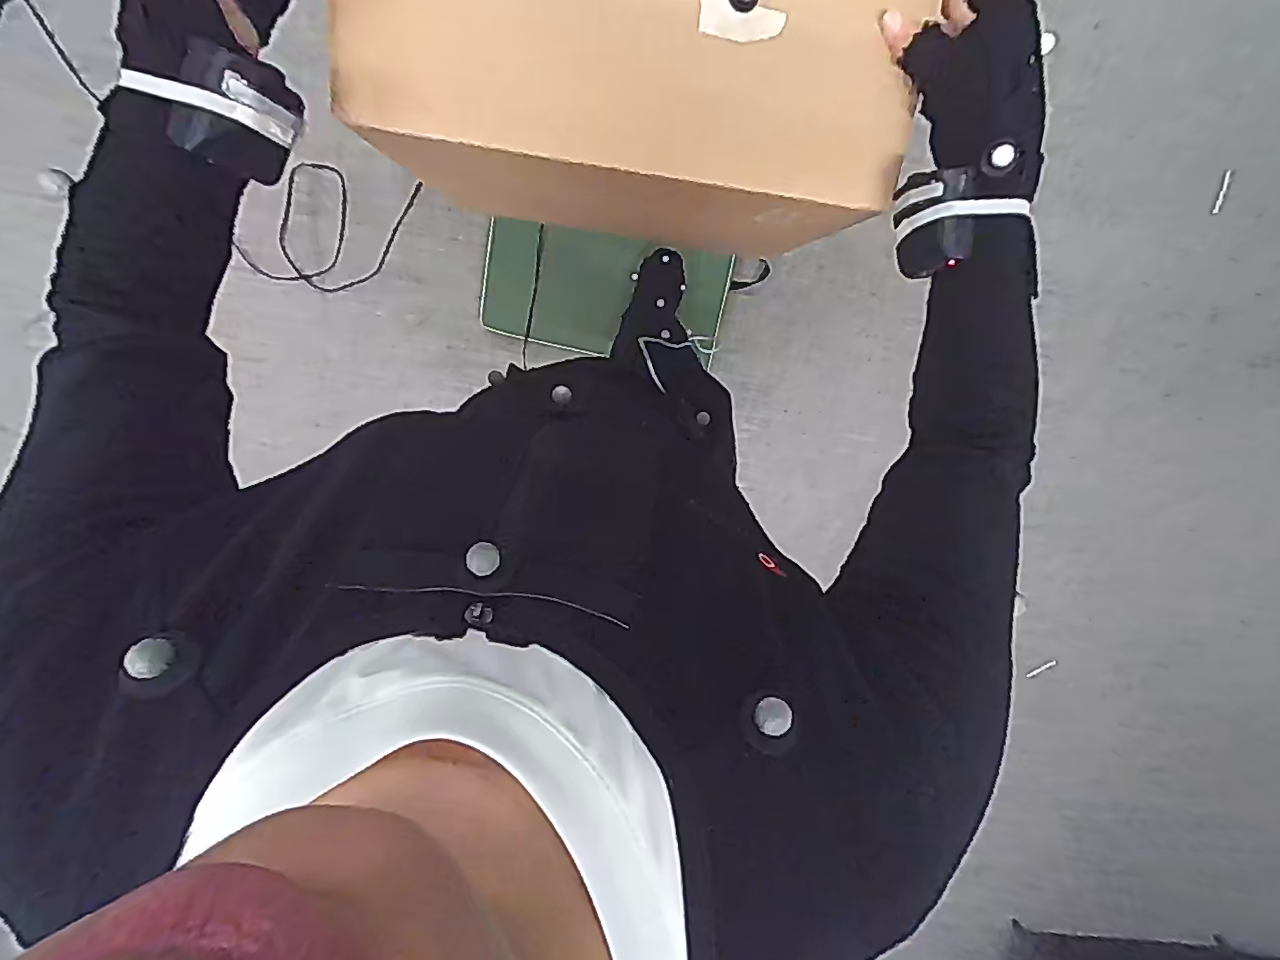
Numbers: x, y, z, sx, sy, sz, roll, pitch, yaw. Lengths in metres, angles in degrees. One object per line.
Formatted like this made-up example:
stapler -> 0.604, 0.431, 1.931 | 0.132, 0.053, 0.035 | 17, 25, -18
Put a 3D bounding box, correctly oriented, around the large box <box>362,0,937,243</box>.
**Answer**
large box -> 0.007, -0.427, 0.500 | 0.408, 0.320, 0.320 | 6, 107, -6
